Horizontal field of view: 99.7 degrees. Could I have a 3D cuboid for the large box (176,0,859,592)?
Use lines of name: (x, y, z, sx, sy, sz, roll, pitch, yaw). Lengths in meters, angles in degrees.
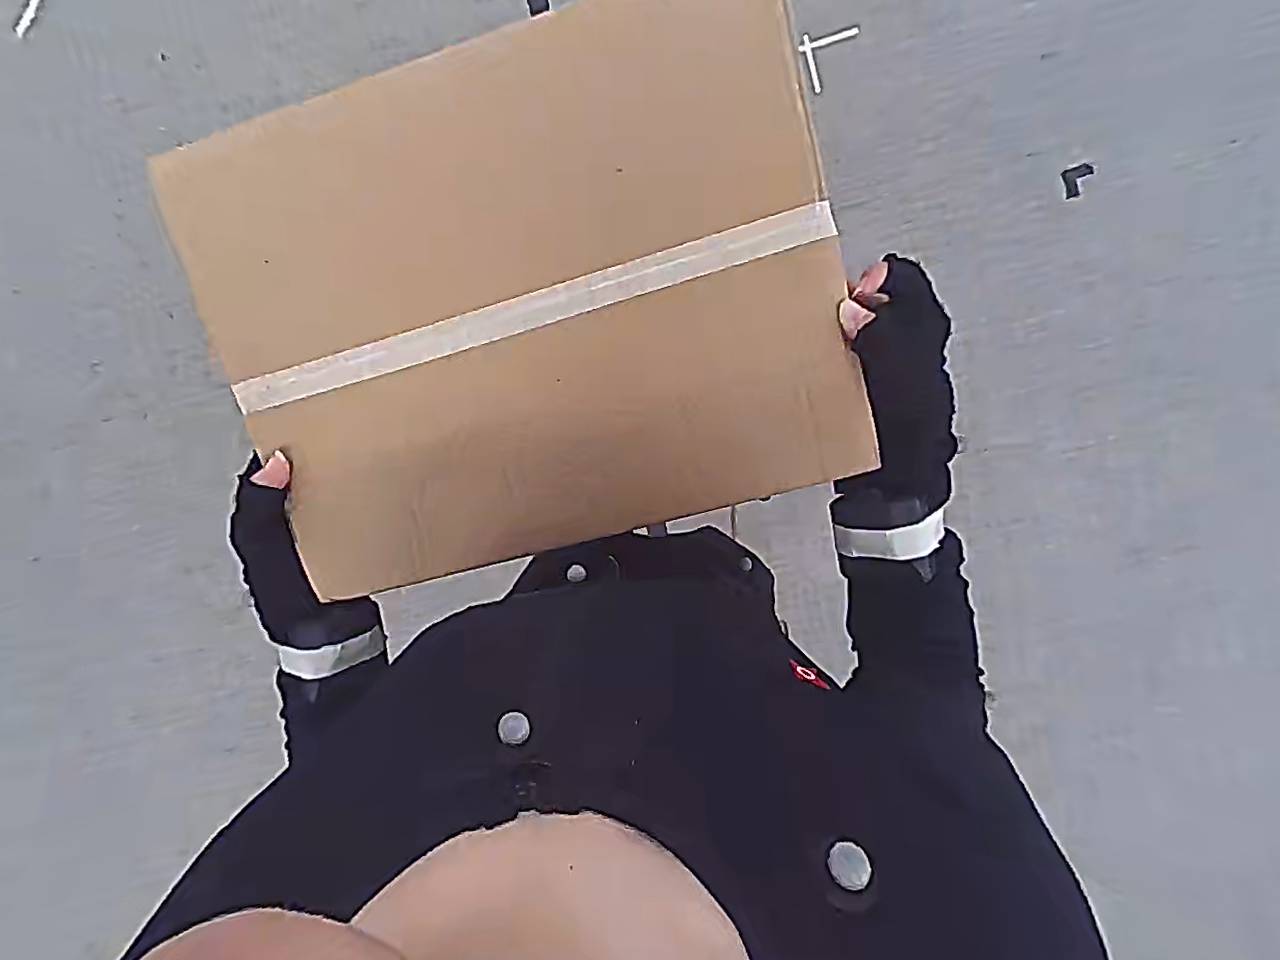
large box: (-0.069, -0.138, 0.506, 0.408, 0.320, 0.320, -14, 99, 7)
